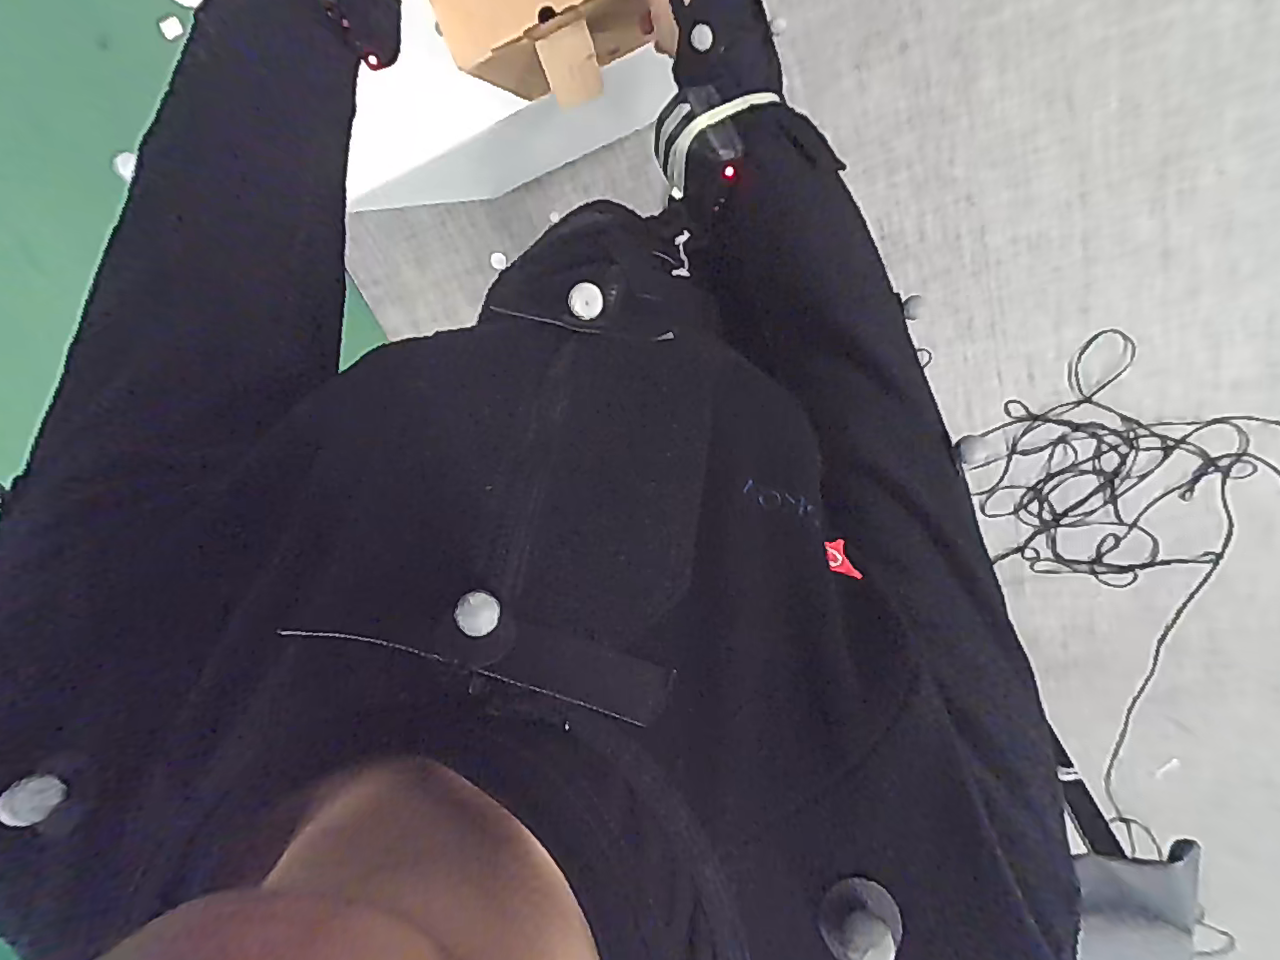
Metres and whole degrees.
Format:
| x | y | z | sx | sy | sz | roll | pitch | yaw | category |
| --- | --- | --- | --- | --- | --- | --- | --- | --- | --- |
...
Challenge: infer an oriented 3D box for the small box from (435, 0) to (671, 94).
| x | y | z | sx | sy | sz | roll | pitch | yaw | category |
| --- | --- | --- | --- | --- | --- | --- | --- | --- | --- |
| -0.081 | -0.453 | 0.438 | 0.168 | 0.176 | 0.179 | -14 | 115 | 17 | small box |
